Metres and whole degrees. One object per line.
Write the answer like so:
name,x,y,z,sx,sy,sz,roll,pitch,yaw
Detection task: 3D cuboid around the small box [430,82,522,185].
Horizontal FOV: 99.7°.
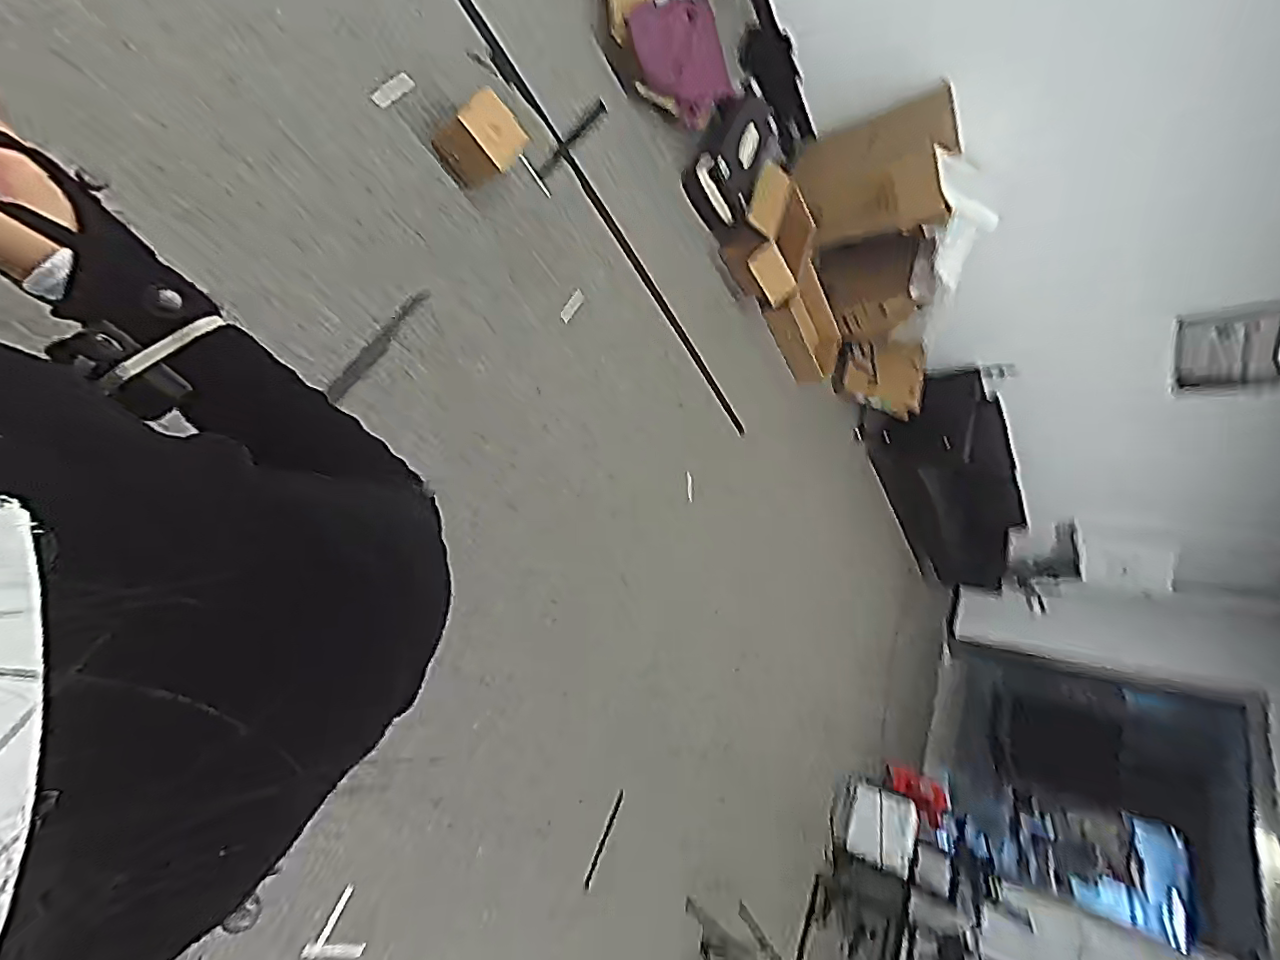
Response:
small box,-0.494,-1.029,1.618,0.168,0.176,0.179,44,61,-39
